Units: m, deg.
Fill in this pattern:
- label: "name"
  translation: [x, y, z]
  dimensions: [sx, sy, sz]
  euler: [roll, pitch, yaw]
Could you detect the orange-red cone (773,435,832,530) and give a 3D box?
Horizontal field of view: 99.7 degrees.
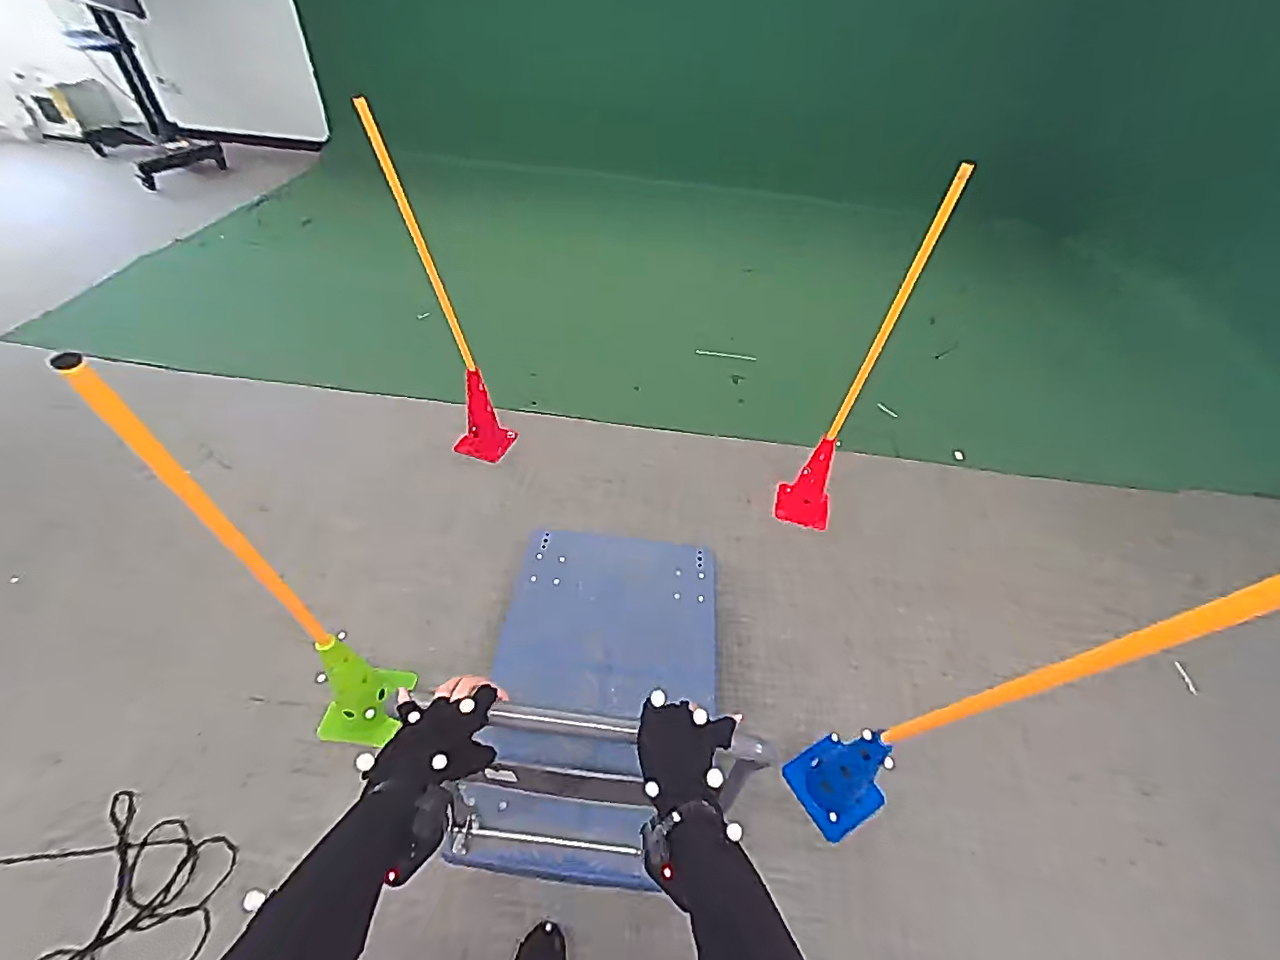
- label: "orange-red cone"
  translation: [0.629, -0.017, 1.966]
  dimensions: [0.198, 0.360, 0.199]
  euler: [15, 47, 10]
